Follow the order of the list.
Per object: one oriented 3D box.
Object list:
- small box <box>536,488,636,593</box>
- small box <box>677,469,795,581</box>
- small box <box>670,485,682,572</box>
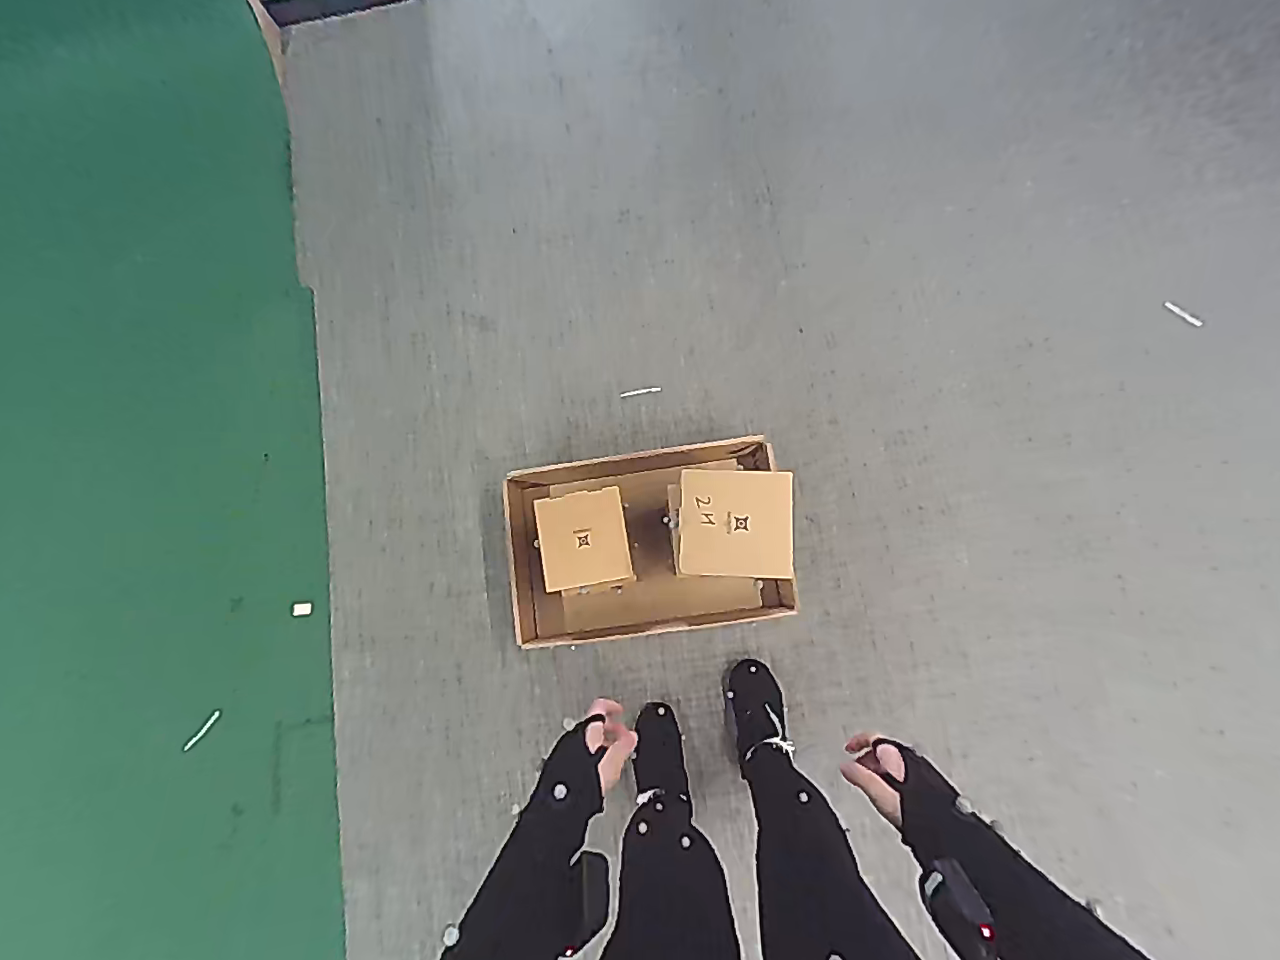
[{"bbox_3d":[-0.102,0.125,1.088,0.168,0.176,0.179,-10,79,0],"label":"small box"},{"bbox_3d":[0.154,0.079,0.908,0.179,0.176,0.168,2,81,5],"label":"small box"},{"bbox_3d":[0.153,0.095,1.073,0.179,0.176,0.168,-6,80,3],"label":"small box"}]
